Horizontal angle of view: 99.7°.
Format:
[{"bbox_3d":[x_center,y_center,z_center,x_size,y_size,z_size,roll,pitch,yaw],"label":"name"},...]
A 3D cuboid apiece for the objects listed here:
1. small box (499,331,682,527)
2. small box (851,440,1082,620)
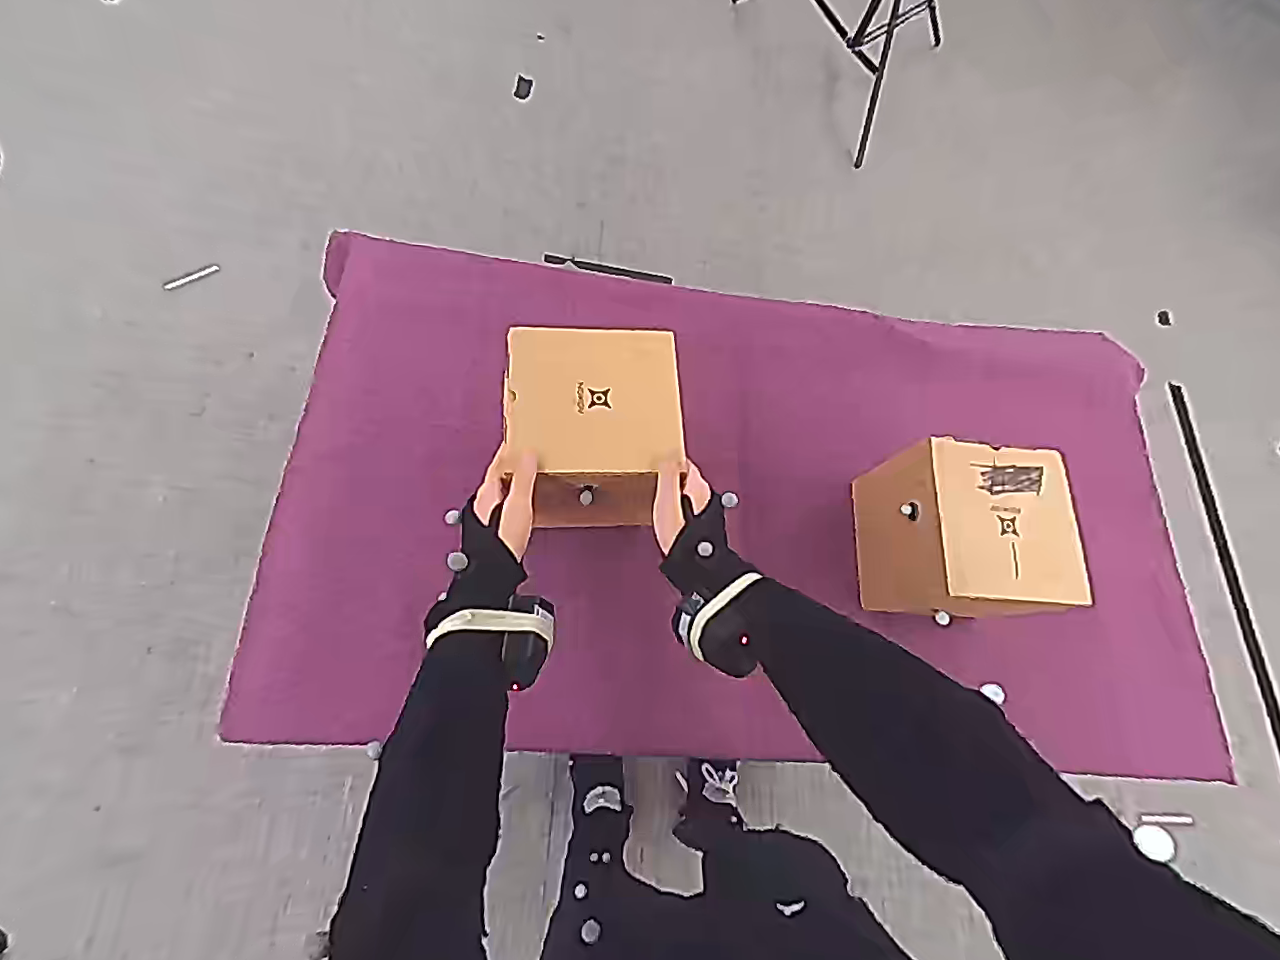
[{"bbox_3d":[-0.058,-0.049,0.612,0.179,0.176,0.168,-1,68,-7],"label":"small box"},{"bbox_3d":[0.376,0.070,0.659,0.168,0.176,0.179,6,72,-7],"label":"small box"}]
